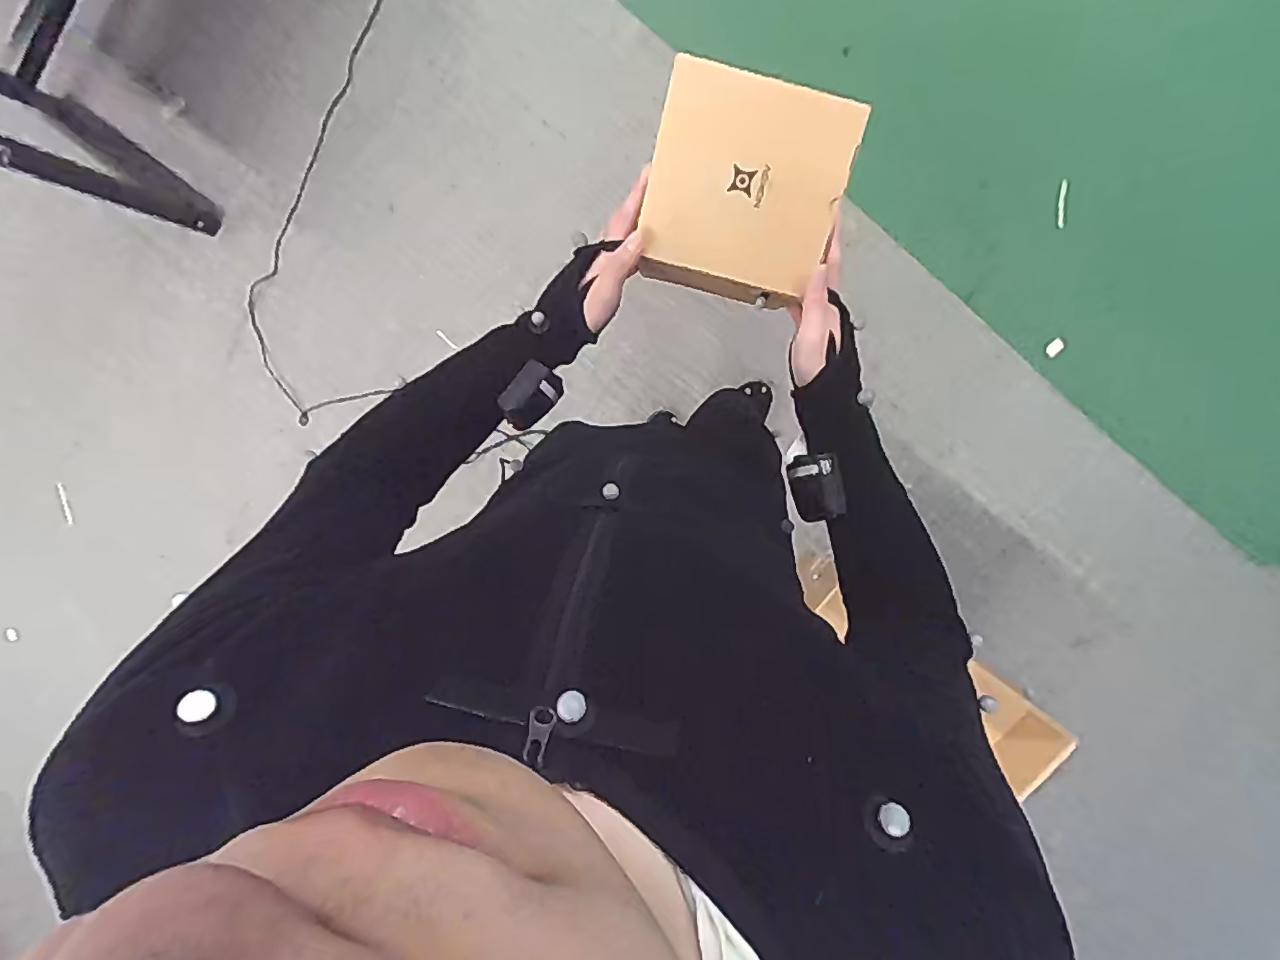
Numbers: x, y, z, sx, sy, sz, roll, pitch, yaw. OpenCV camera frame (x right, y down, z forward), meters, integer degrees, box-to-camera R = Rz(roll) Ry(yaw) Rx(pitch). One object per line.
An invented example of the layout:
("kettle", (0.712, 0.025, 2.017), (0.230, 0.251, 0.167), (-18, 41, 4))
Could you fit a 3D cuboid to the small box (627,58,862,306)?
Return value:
("small box", (0.090, -0.282, 0.557), (0.179, 0.176, 0.168), (13, 104, -3))
